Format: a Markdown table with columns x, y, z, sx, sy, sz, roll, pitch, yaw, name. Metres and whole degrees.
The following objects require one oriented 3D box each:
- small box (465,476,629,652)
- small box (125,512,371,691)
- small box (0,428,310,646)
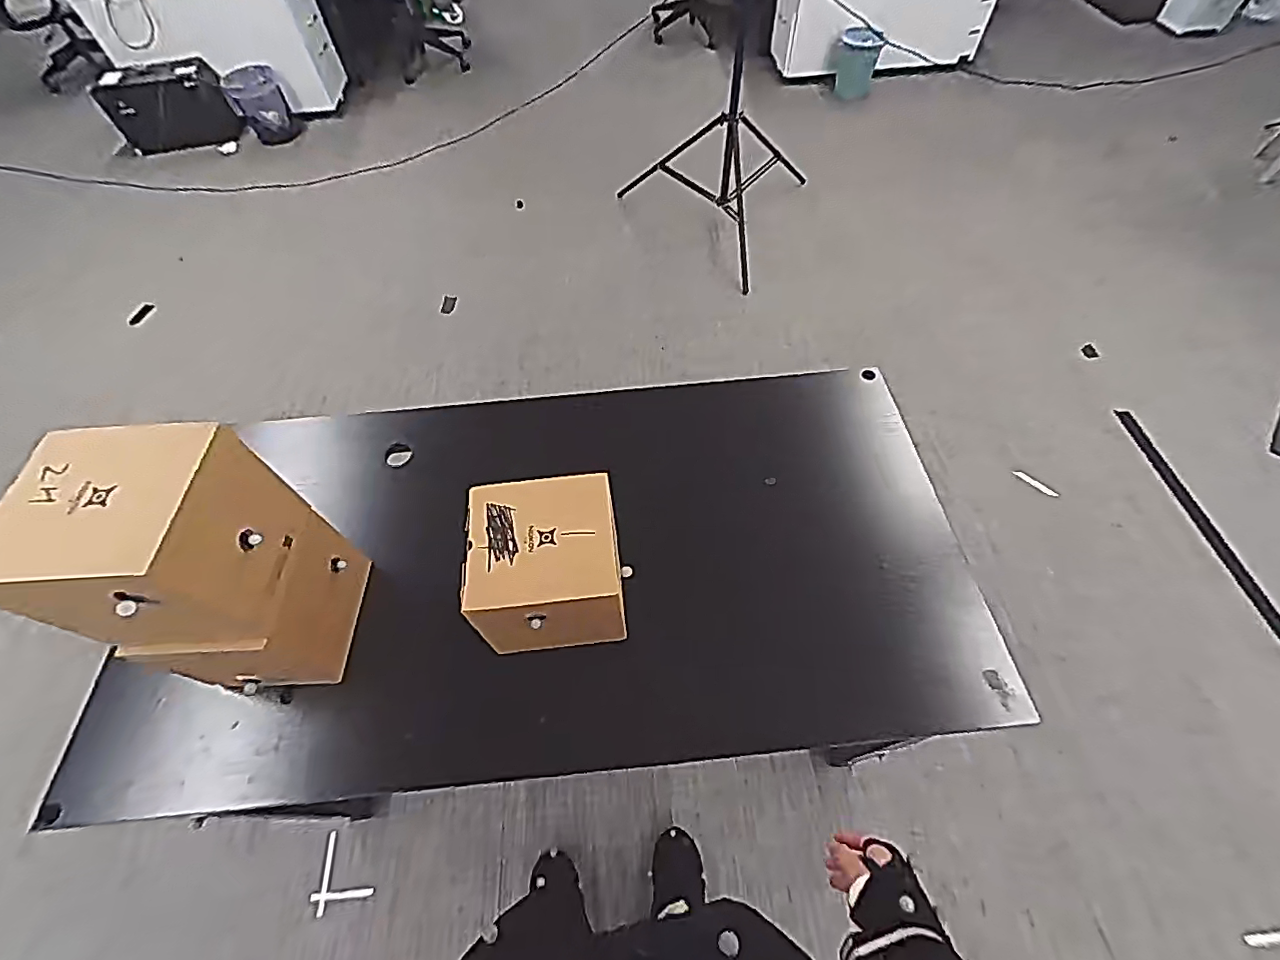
| x | y | z | sx | sy | sz | roll | pitch | yaw | name |
| --- | --- | --- | --- | --- | --- | --- | --- | --- | --- |
| -0.111 | 0.115 | 0.703 | 0.179 | 0.176 | 0.168 | -6 | 57 | -2 | small box |
| -0.473 | 0.159 | 0.691 | 0.168 | 0.176 | 0.179 | -3 | 58 | 1 | small box |
| -0.484 | 0.064 | 0.556 | 0.179 | 0.176 | 0.168 | -3 | 57 | 1 | small box |
